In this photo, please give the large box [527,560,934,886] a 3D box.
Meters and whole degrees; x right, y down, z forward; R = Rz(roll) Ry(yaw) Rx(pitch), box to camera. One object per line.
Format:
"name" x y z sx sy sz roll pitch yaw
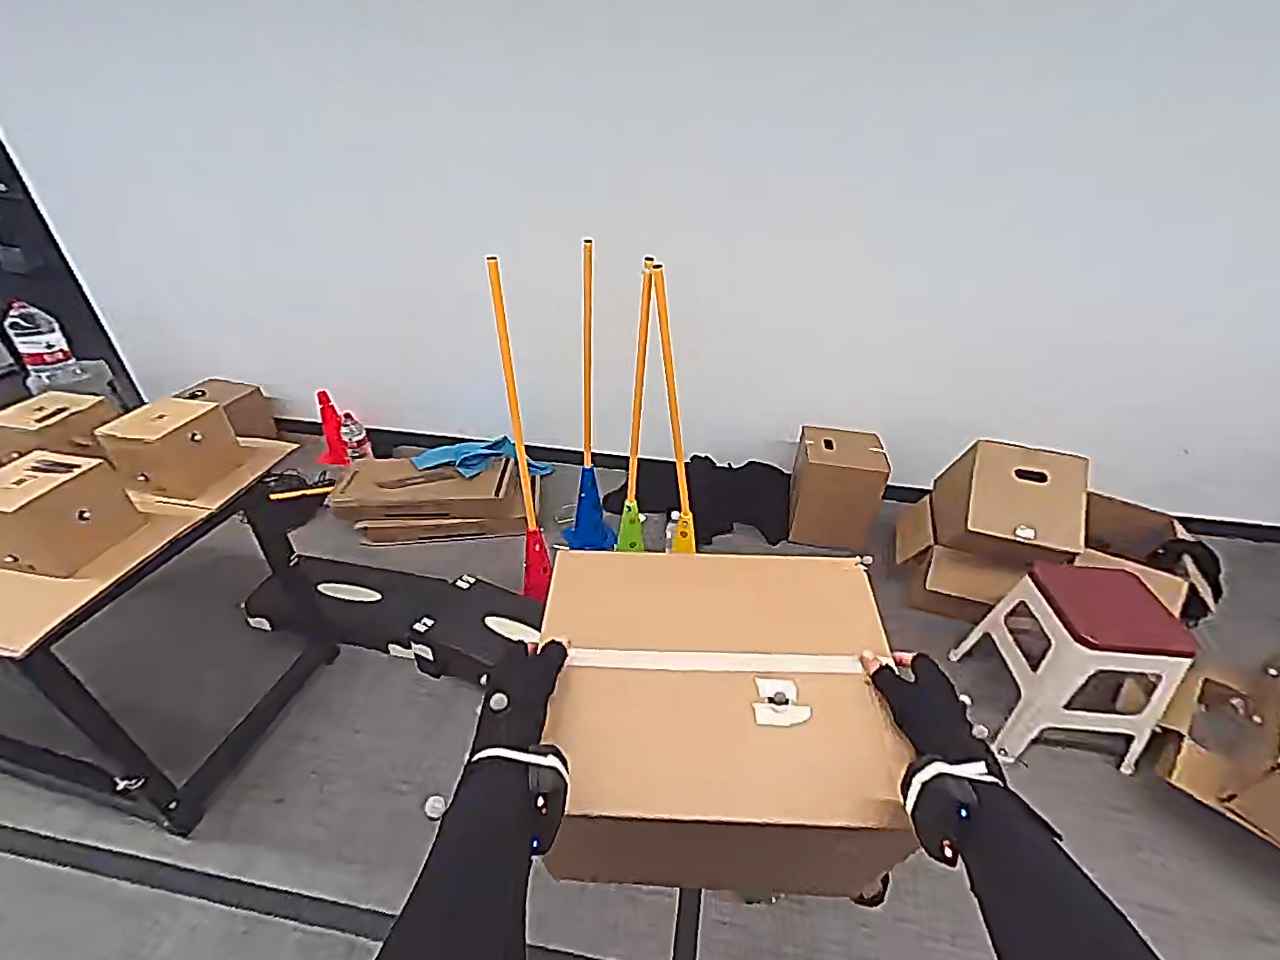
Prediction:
"large box" 0.090 0.325 0.728 0.408 0.320 0.320 1 44 2
